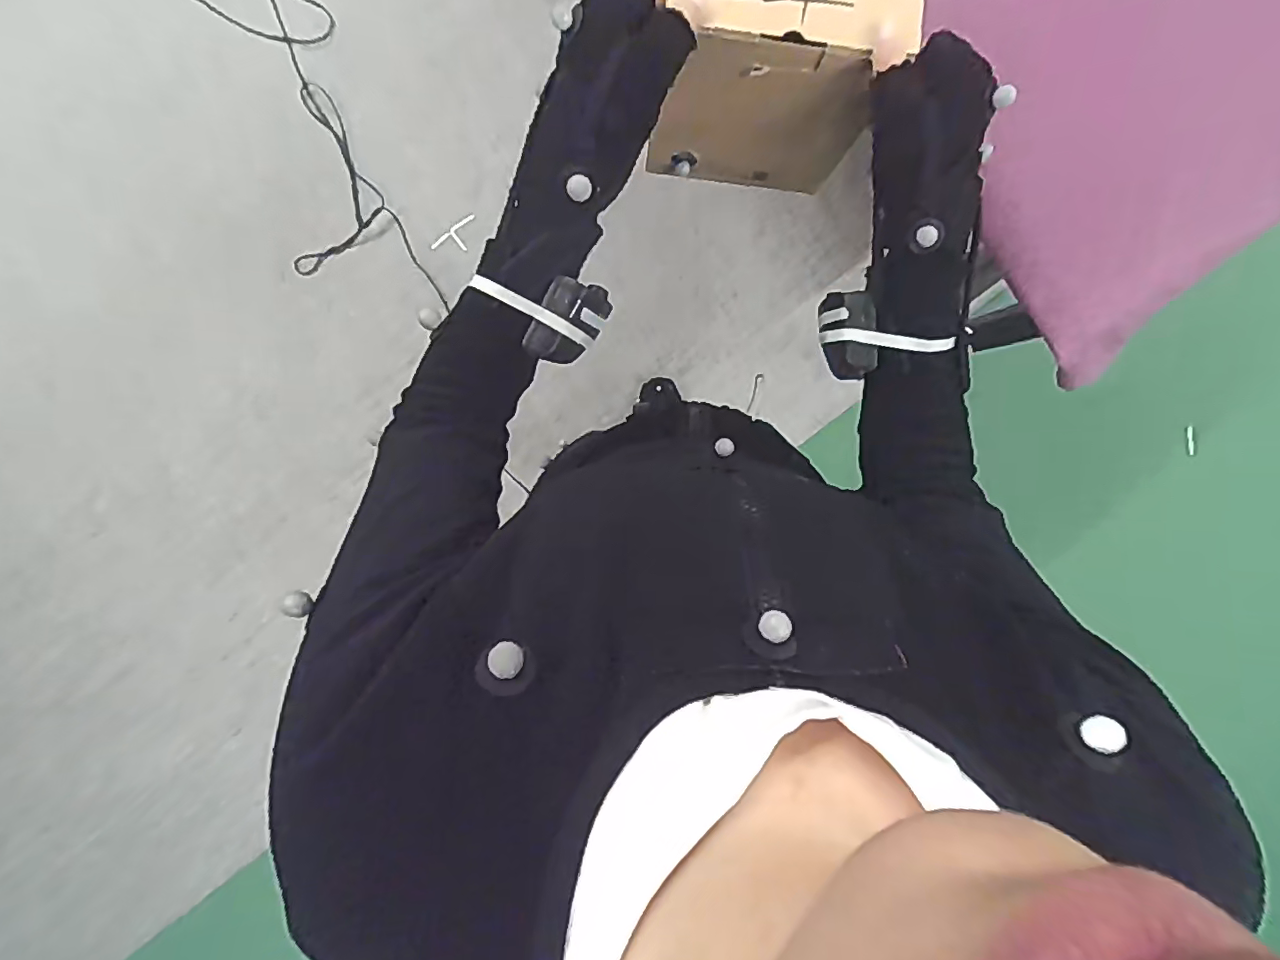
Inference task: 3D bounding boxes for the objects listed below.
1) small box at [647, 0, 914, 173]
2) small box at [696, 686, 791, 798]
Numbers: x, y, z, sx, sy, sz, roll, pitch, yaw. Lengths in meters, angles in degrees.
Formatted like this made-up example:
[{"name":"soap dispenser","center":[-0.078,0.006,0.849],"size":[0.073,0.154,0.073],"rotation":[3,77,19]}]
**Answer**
[{"name":"small box","center":[0.097,-0.373,0.421],"size":[0.168,0.176,0.179],"rotation":[5,90,-4]},{"name":"small box","center":[0.273,0.697,1.457],"size":[0.168,0.176,0.179],"rotation":[-36,95,1]}]
